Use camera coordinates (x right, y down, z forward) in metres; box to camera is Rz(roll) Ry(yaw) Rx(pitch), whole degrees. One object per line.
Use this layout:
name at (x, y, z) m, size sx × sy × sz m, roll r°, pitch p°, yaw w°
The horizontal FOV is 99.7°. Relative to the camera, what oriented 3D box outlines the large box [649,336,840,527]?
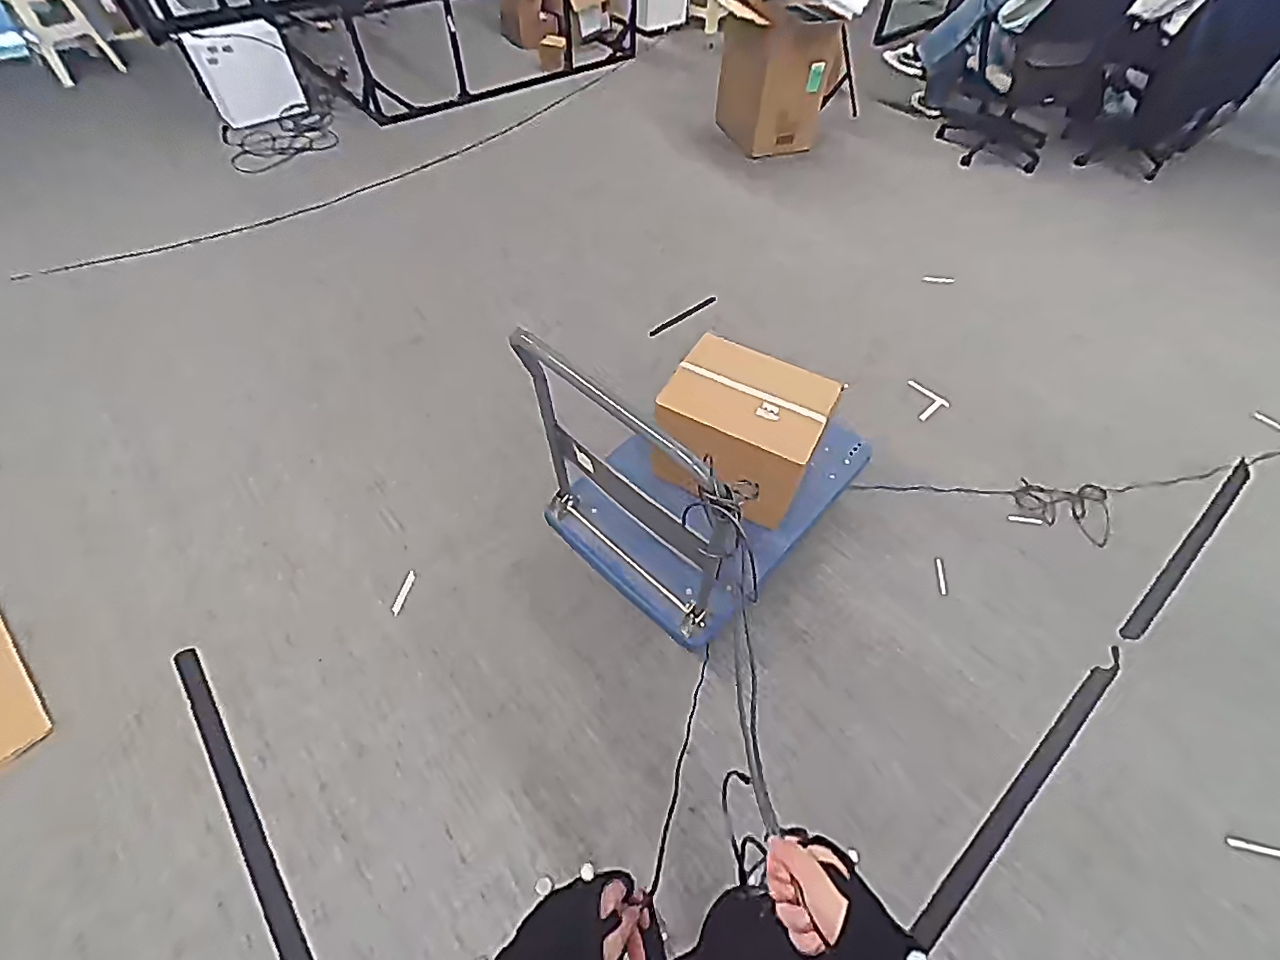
large box at (0.272, -0.134, 1.506) m, size 0.408 × 0.320 × 0.320 m, roll 26°, pitch 58°, yaw 15°
